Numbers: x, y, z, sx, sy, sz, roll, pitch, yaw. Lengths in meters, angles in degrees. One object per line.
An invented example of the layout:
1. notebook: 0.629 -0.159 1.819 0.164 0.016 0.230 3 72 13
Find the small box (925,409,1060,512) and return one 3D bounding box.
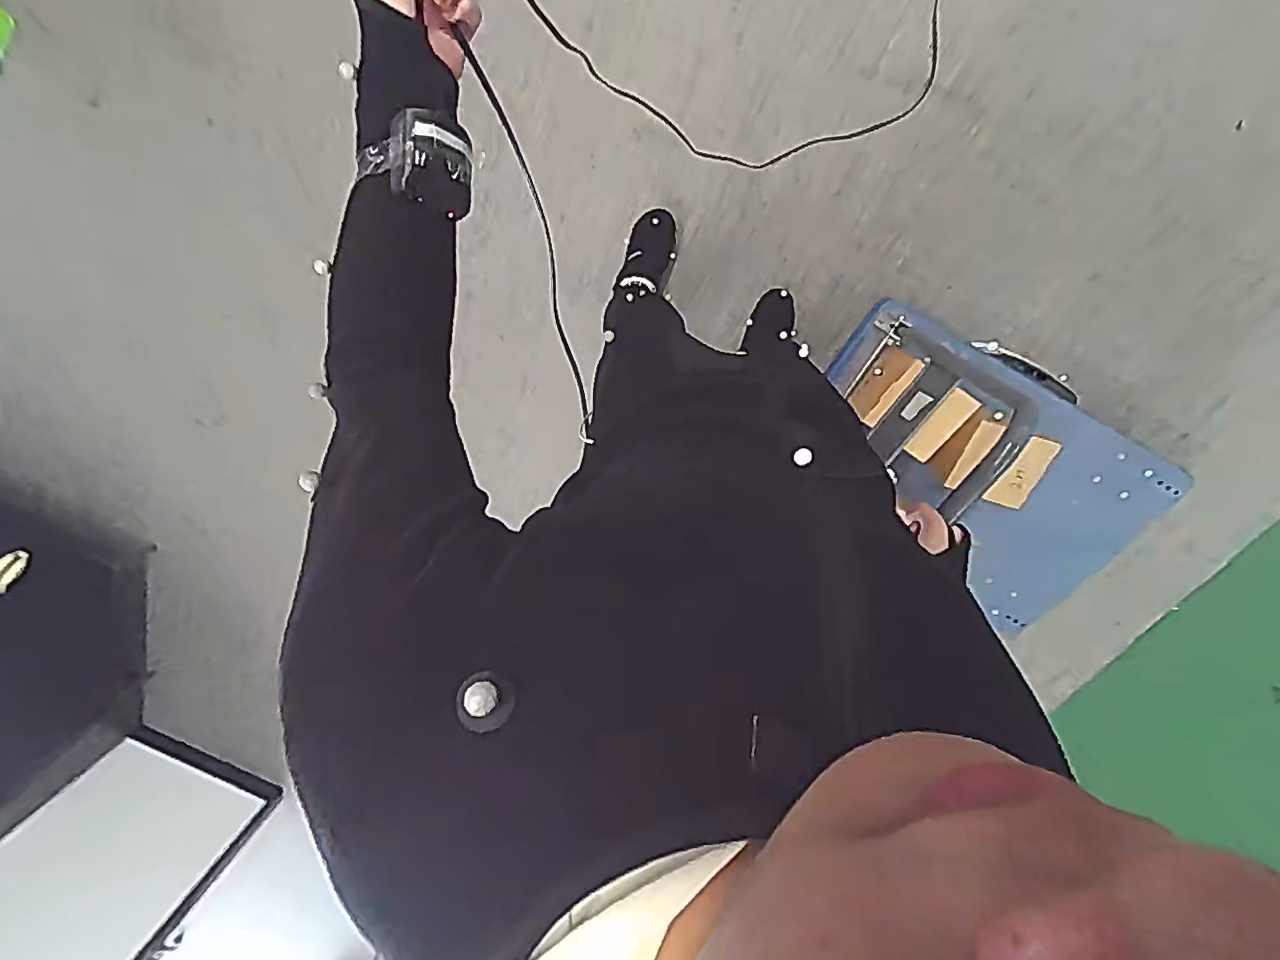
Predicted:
1. small box: 0.788 -0.056 1.237 0.179 0.176 0.168 18 116 2

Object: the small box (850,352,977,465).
1. small box: 0.606 -0.170 1.224 0.179 0.176 0.168 33 116 -4
